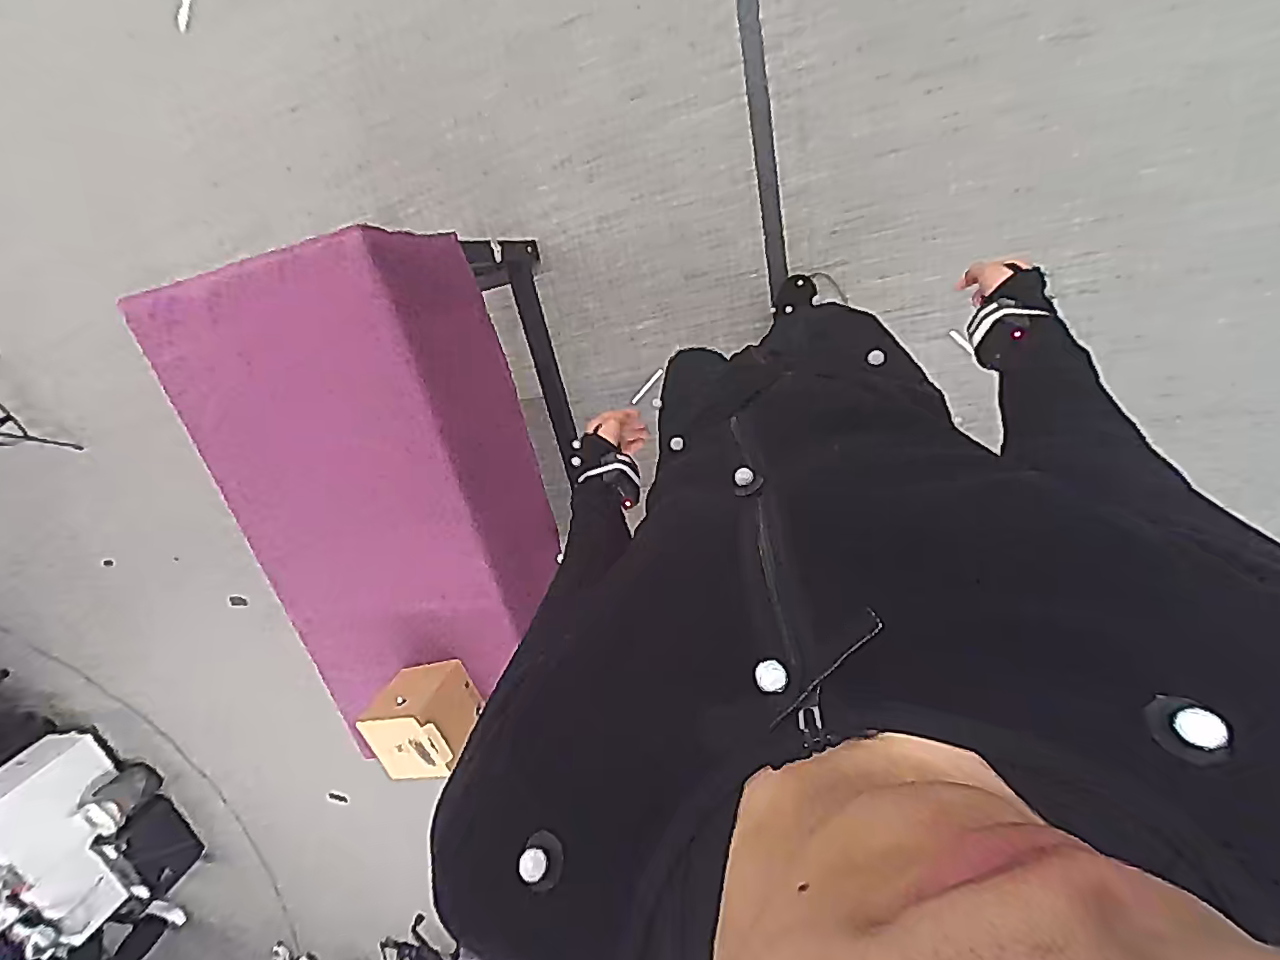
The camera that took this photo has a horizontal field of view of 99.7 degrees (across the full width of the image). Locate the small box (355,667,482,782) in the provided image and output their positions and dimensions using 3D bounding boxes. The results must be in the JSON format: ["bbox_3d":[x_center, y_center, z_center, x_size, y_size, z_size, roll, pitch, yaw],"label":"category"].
[{"bbox_3d":[-0.480,0.540,1.207,0.179,0.176,0.168,-16,108,21],"label":"small box"}]
